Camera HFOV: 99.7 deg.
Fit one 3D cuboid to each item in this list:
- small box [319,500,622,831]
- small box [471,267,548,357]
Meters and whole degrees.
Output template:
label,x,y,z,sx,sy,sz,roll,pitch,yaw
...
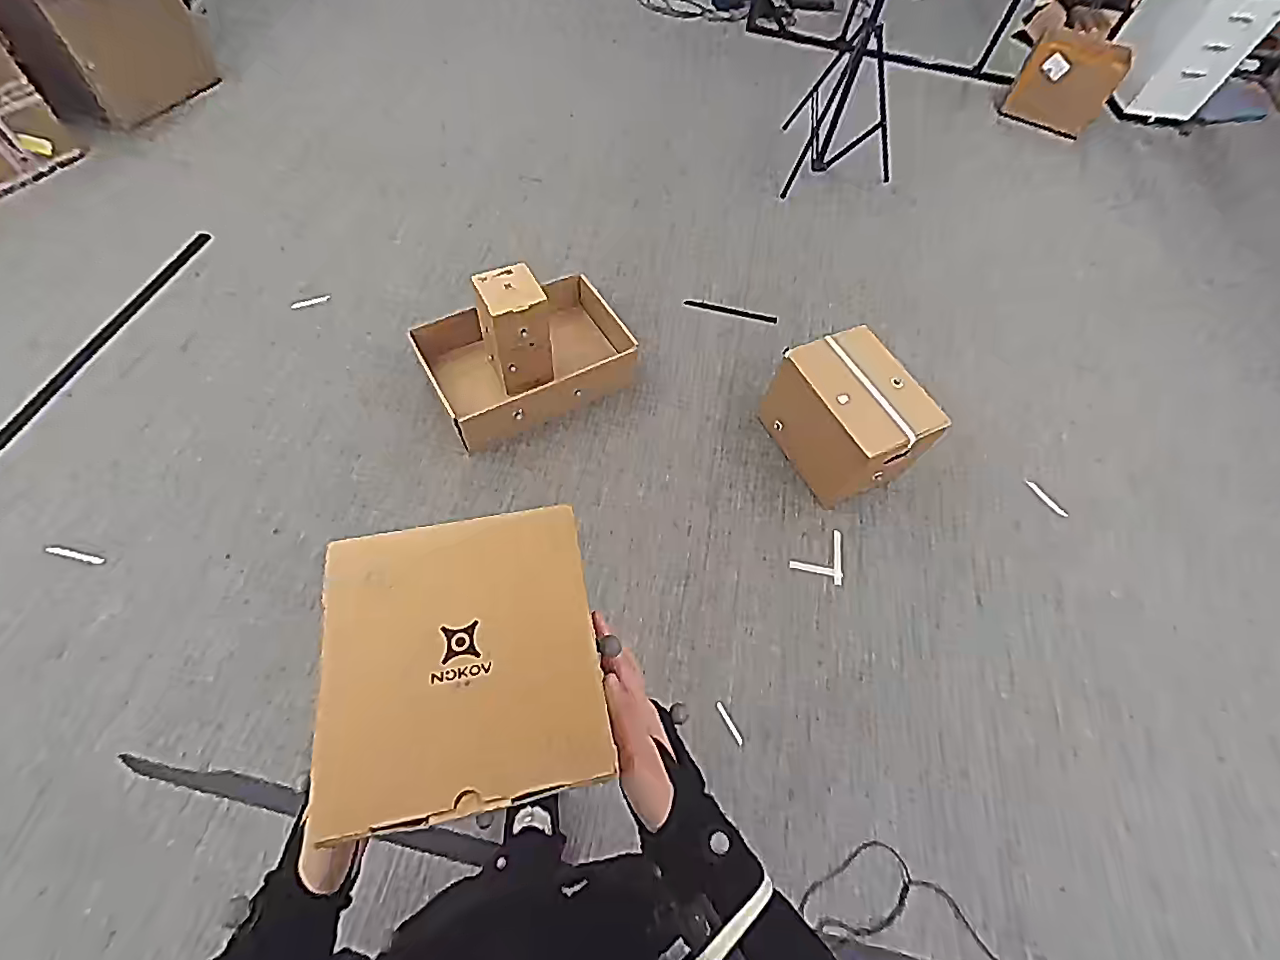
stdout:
label,x,y,z,sx,sy,sz,roll,pitch,yaw
small box,-0.112,0.137,0.405,0.168,0.176,0.179,-9,64,-9
small box,-0.377,-0.485,1.588,0.168,0.176,0.179,-22,65,-19
